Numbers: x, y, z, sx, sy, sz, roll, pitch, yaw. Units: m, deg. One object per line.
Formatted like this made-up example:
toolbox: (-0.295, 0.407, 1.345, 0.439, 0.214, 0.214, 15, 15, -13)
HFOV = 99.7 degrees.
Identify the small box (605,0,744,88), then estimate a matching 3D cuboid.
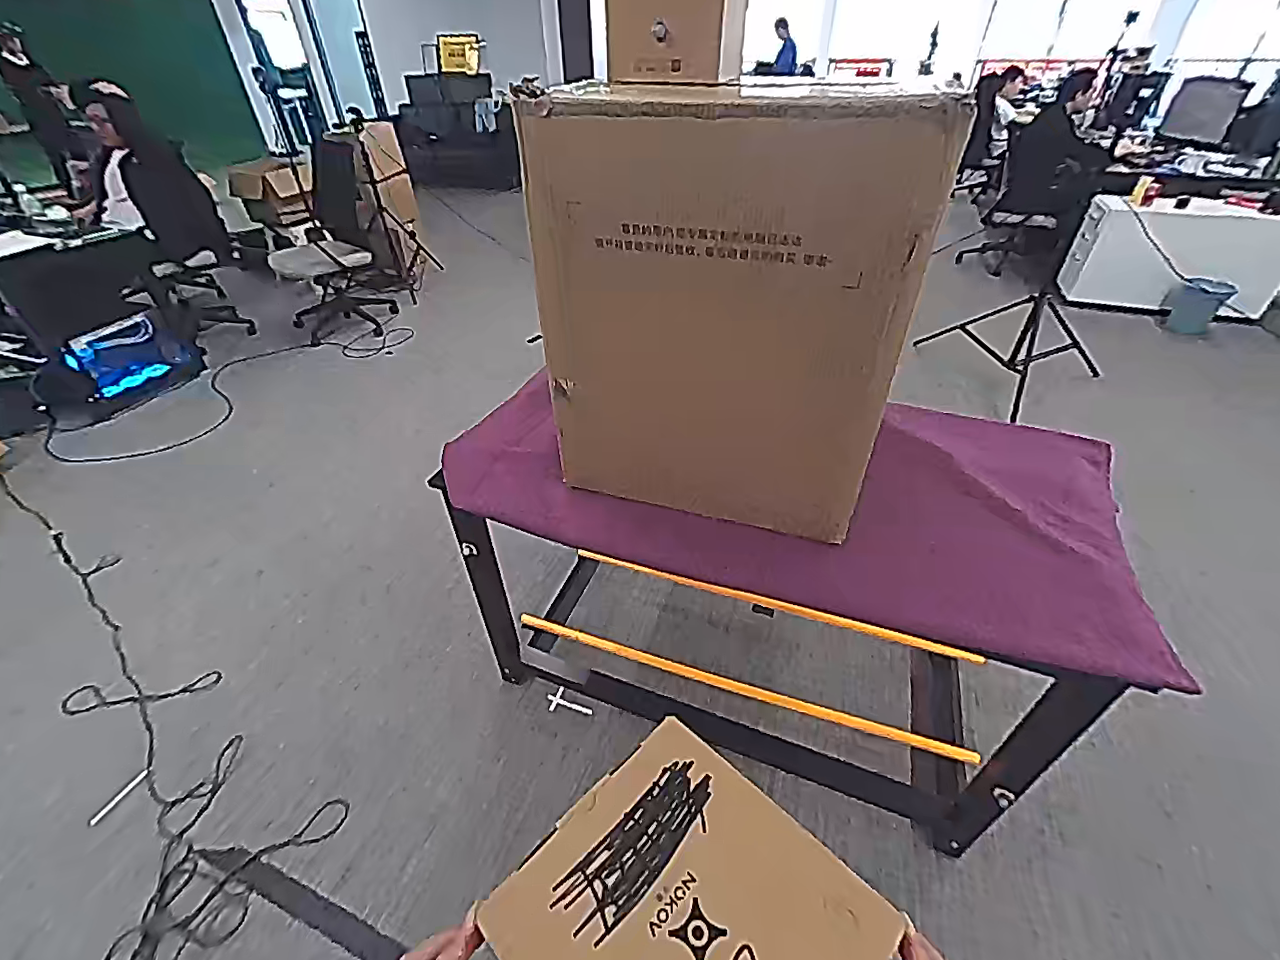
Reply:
small box: (0.050, -0.669, 0.769, 0.168, 0.176, 0.179, 12, 40, 15)
